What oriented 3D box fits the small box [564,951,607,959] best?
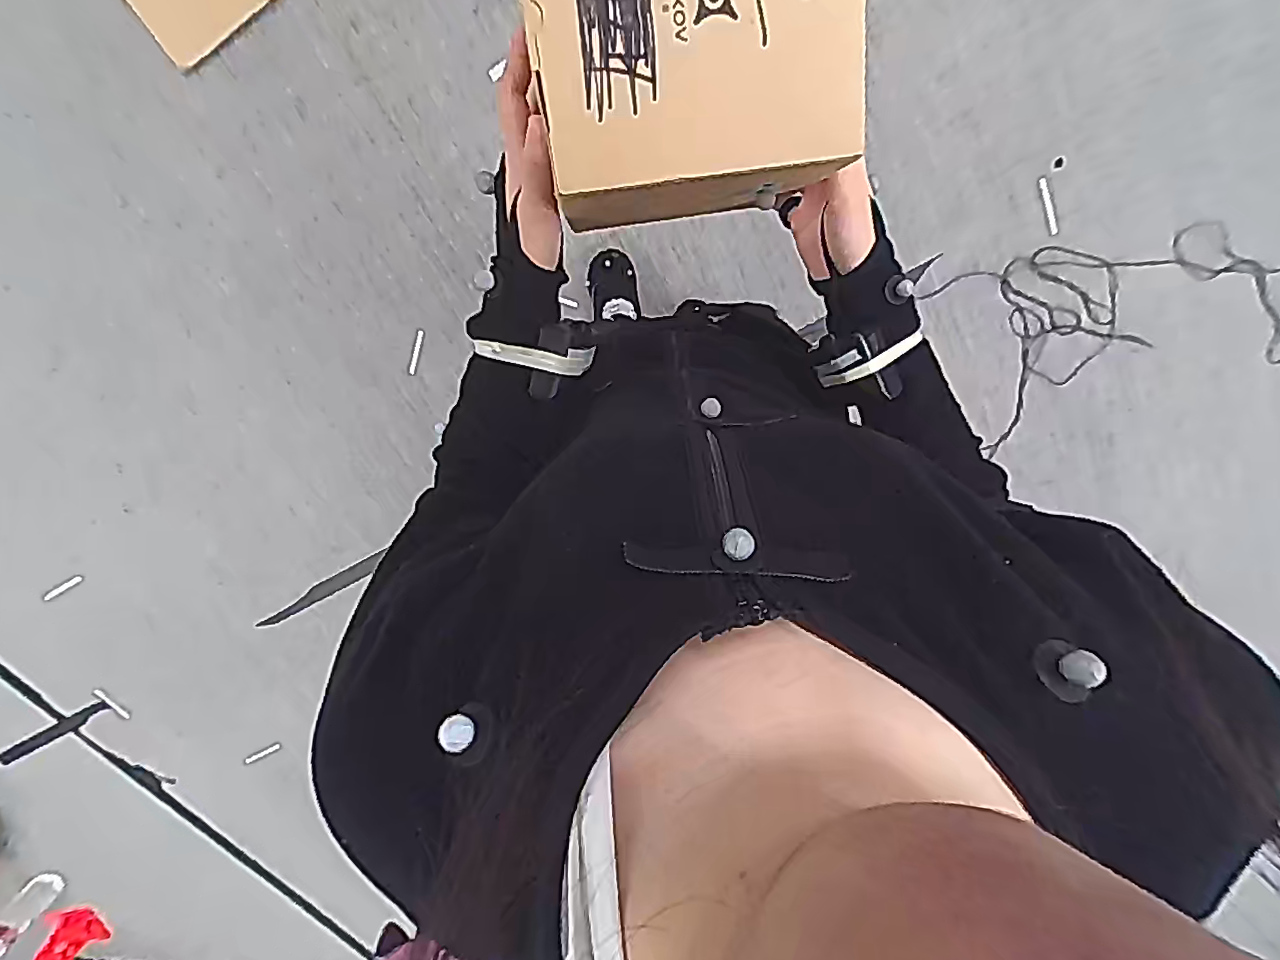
[{"bbox_3d":[-0.122,1.122,1.105,0.168,0.176,0.179,-25,109,8],"label":"small box"}]
